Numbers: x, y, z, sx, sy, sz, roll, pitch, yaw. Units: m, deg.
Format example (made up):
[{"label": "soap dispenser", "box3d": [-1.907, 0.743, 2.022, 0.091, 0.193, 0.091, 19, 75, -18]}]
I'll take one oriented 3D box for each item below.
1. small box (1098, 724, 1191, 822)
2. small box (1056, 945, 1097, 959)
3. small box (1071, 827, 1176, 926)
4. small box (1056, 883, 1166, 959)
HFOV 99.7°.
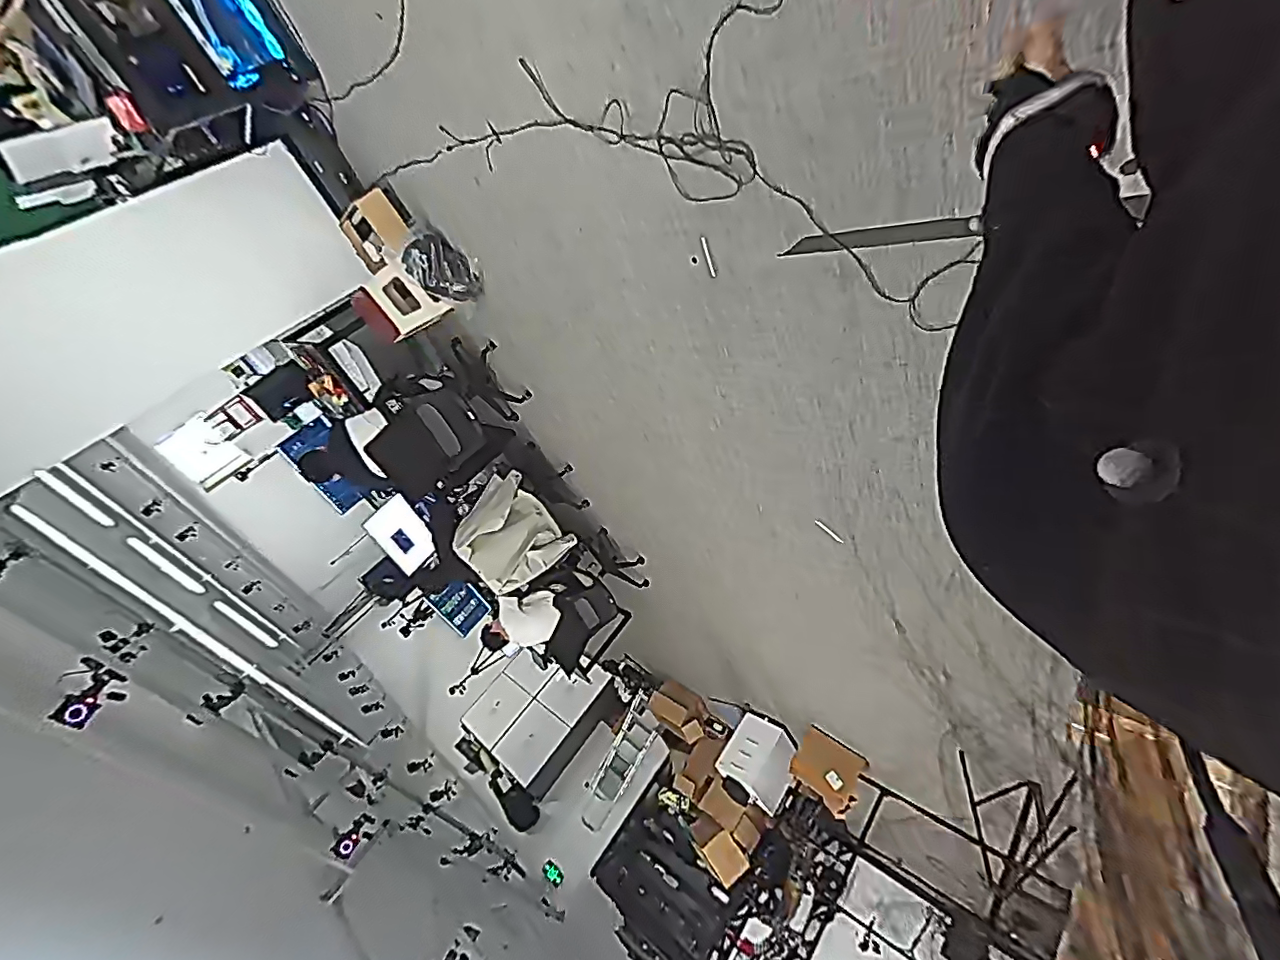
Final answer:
[{"label": "small box", "box3d": [1.533, 0.883, 1.645, 0.179, 0.176, 0.168, 15, 142, 44]}, {"label": "small box", "box3d": [1.137, 1.317, 1.354, 0.168, 0.176, 0.179, 17, 144, 40]}, {"label": "small box", "box3d": [1.336, 1.101, 1.498, 0.179, 0.176, 0.168, 17, 144, 41]}, {"label": "small box", "box3d": [1.239, 1.209, 1.426, 0.179, 0.176, 0.168, 17, 143, 40]}]
